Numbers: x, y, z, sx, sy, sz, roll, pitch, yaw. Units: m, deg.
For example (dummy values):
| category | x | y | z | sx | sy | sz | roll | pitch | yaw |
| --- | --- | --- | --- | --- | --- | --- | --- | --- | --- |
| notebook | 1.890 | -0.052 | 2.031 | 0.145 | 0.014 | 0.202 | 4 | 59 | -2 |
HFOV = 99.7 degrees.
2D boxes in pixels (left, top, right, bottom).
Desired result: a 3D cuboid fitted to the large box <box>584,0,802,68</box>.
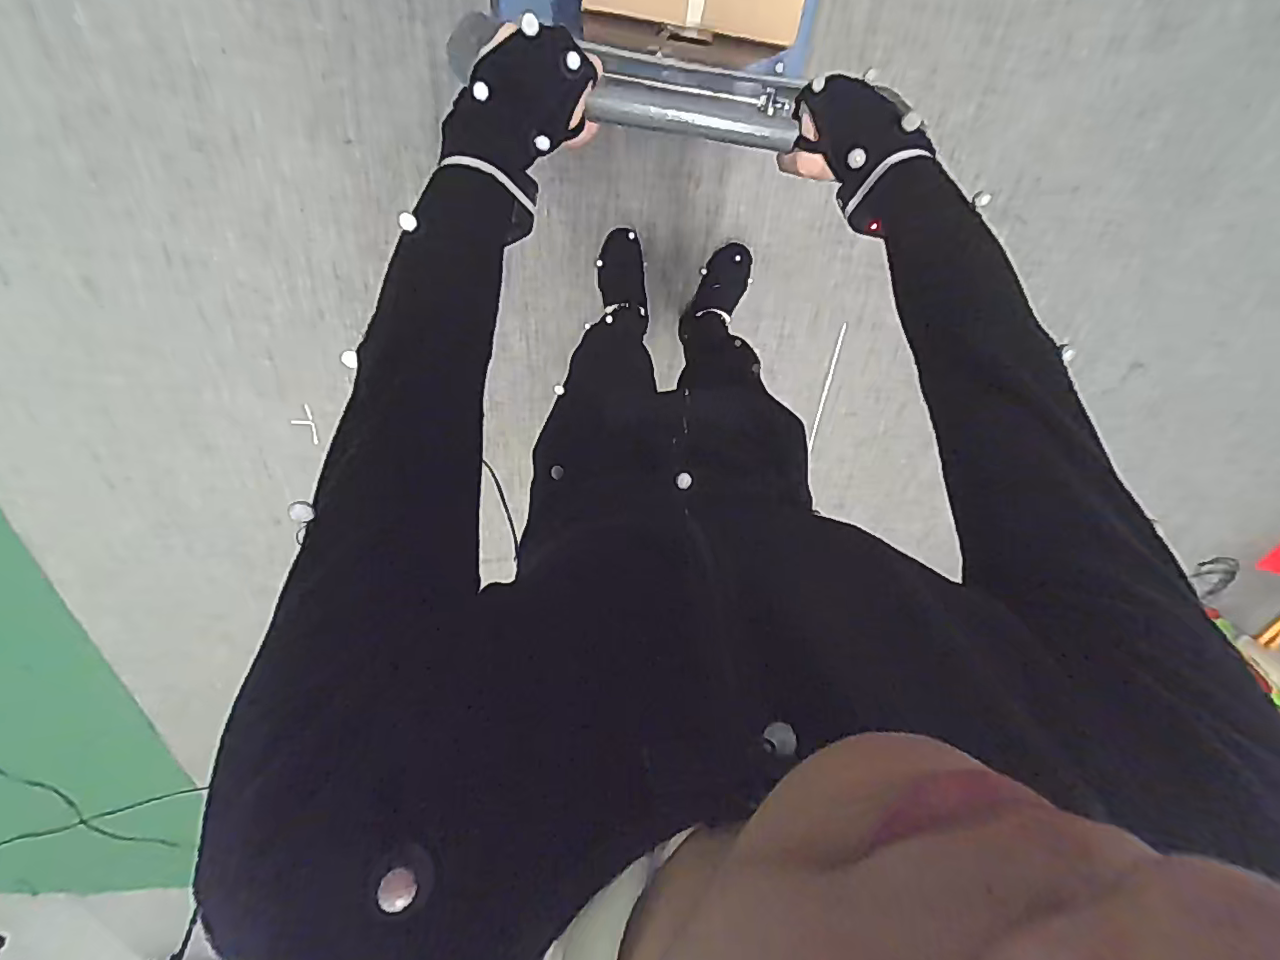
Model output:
| category | x | y | z | sx | sy | sz | roll | pitch | yaw |
| --- | --- | --- | --- | --- | --- | --- | --- | --- | --- |
| large box | 0.085 | -0.891 | 0.798 | 0.320 | 0.320 | 0.408 | 4 | 122 | -8 |
